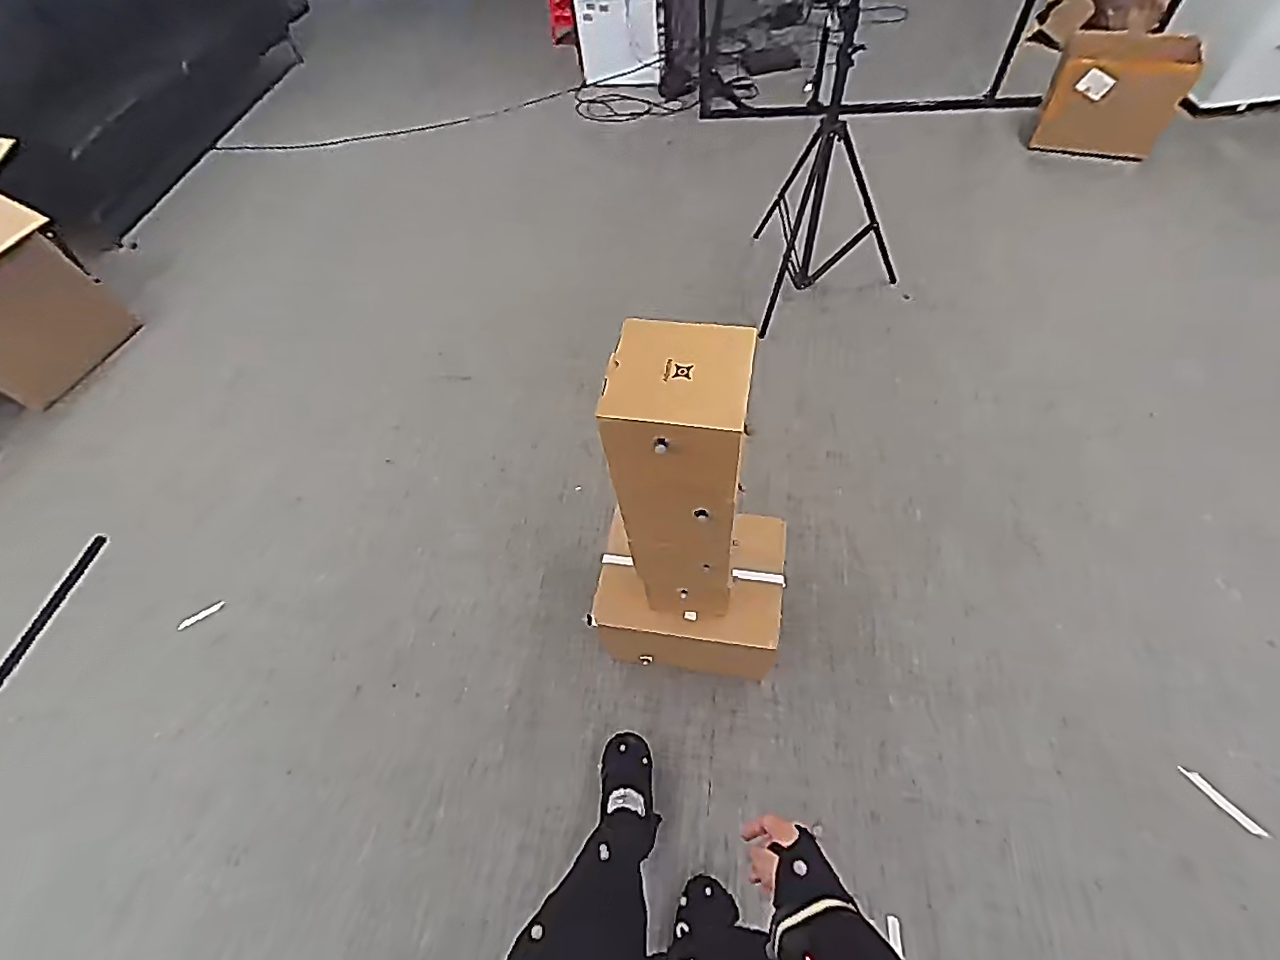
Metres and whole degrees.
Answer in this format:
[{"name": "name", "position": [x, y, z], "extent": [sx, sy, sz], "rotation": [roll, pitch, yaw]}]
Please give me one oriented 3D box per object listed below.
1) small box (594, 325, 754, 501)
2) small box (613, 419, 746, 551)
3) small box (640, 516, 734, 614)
[{"name": "small box", "position": [0.053, -0.085, 0.731], "extent": [0.179, 0.176, 0.168], "rotation": [7, 60, 11]}, {"name": "small box", "position": [0.069, 0.001, 0.867], "extent": [0.179, 0.176, 0.168], "rotation": [6, 59, 11]}, {"name": "small box", "position": [0.103, 0.176, 1.143], "extent": [0.179, 0.176, 0.168], "rotation": [4, 60, 8]}]
